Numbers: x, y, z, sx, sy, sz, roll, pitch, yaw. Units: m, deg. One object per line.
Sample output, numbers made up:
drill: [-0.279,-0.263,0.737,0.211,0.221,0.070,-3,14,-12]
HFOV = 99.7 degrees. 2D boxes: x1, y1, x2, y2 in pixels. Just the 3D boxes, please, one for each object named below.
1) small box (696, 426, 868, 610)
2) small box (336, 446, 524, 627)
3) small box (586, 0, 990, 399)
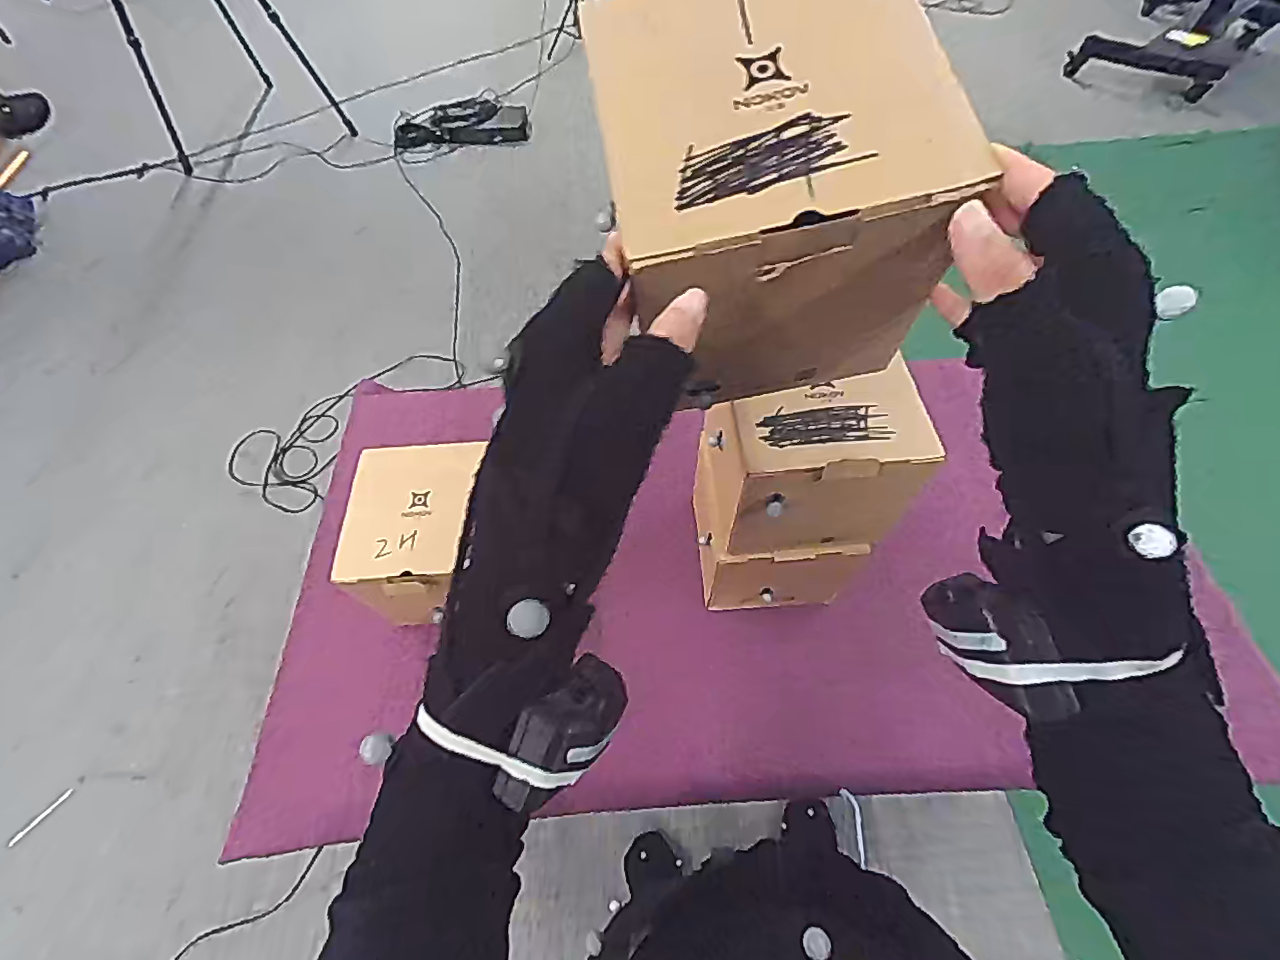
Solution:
small box: [0.164,0.053,0.693,0.168,0.176,0.179,-4,60,0]
small box: [-0.250,0.077,0.698,0.168,0.176,0.179,-4,59,1]
small box: [0.073,-0.166,0.342,0.168,0.176,0.179,-11,71,4]
